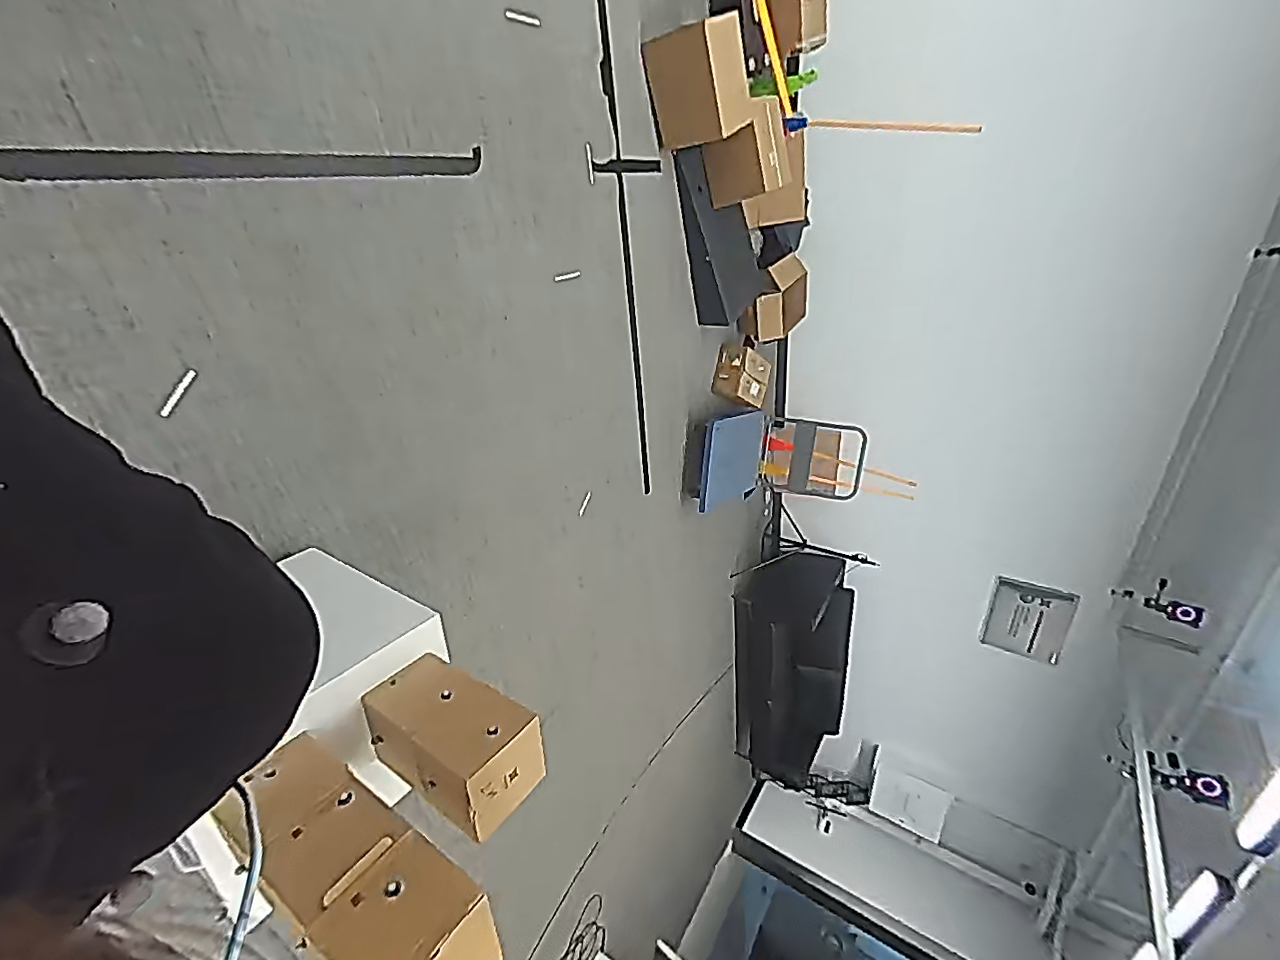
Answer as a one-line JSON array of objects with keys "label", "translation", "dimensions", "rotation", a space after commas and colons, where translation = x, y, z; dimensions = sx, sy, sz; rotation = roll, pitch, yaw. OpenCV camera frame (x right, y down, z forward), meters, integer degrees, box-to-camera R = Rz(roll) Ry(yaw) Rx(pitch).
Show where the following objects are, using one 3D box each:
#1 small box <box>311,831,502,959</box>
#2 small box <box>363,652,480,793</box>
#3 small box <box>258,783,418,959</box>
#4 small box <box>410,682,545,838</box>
[{"label": "small box", "translation": [-0.324, 0.649, 0.764], "dimensions": [0.168, 0.176, 0.179], "rotation": [-34, 129, -48]}, {"label": "small box", "translation": [-0.447, 0.497, 1.134], "dimensions": [0.168, 0.176, 0.179], "rotation": [-31, 128, -50]}, {"label": "small box", "translation": [-0.458, 0.617, 0.850], "dimensions": [0.168, 0.176, 0.179], "rotation": [-34, 130, -48]}, {"label": "small box", "translation": [-0.310, 0.527, 1.047], "dimensions": [0.179, 0.176, 0.168], "rotation": [-31, 126, -49]}]
